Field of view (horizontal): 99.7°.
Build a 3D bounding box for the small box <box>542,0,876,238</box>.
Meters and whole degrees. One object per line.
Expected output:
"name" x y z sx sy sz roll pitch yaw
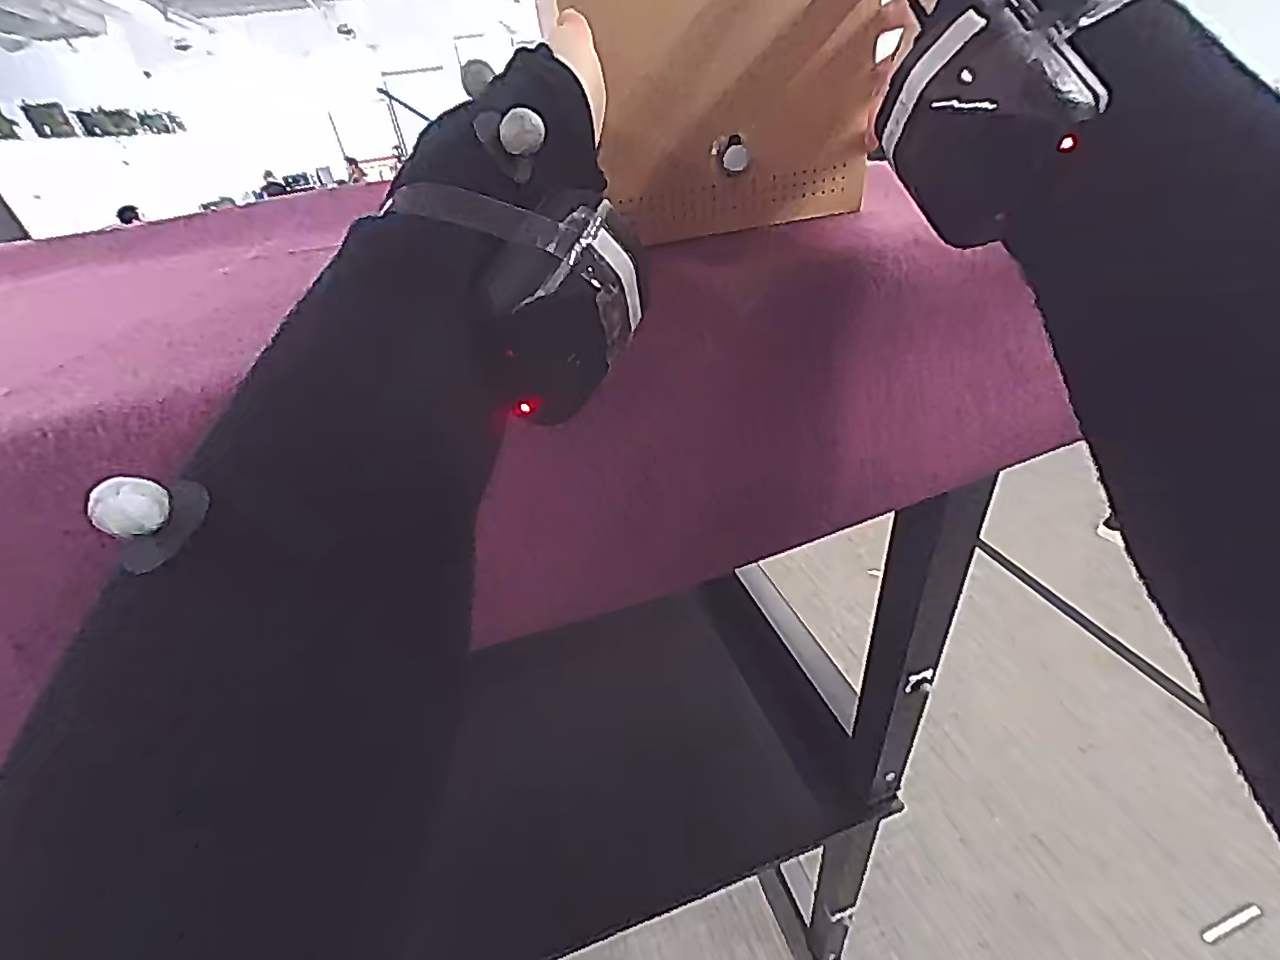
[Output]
"small box" 0.034 -0.271 0.354 0.179 0.176 0.168 -12 34 -6
